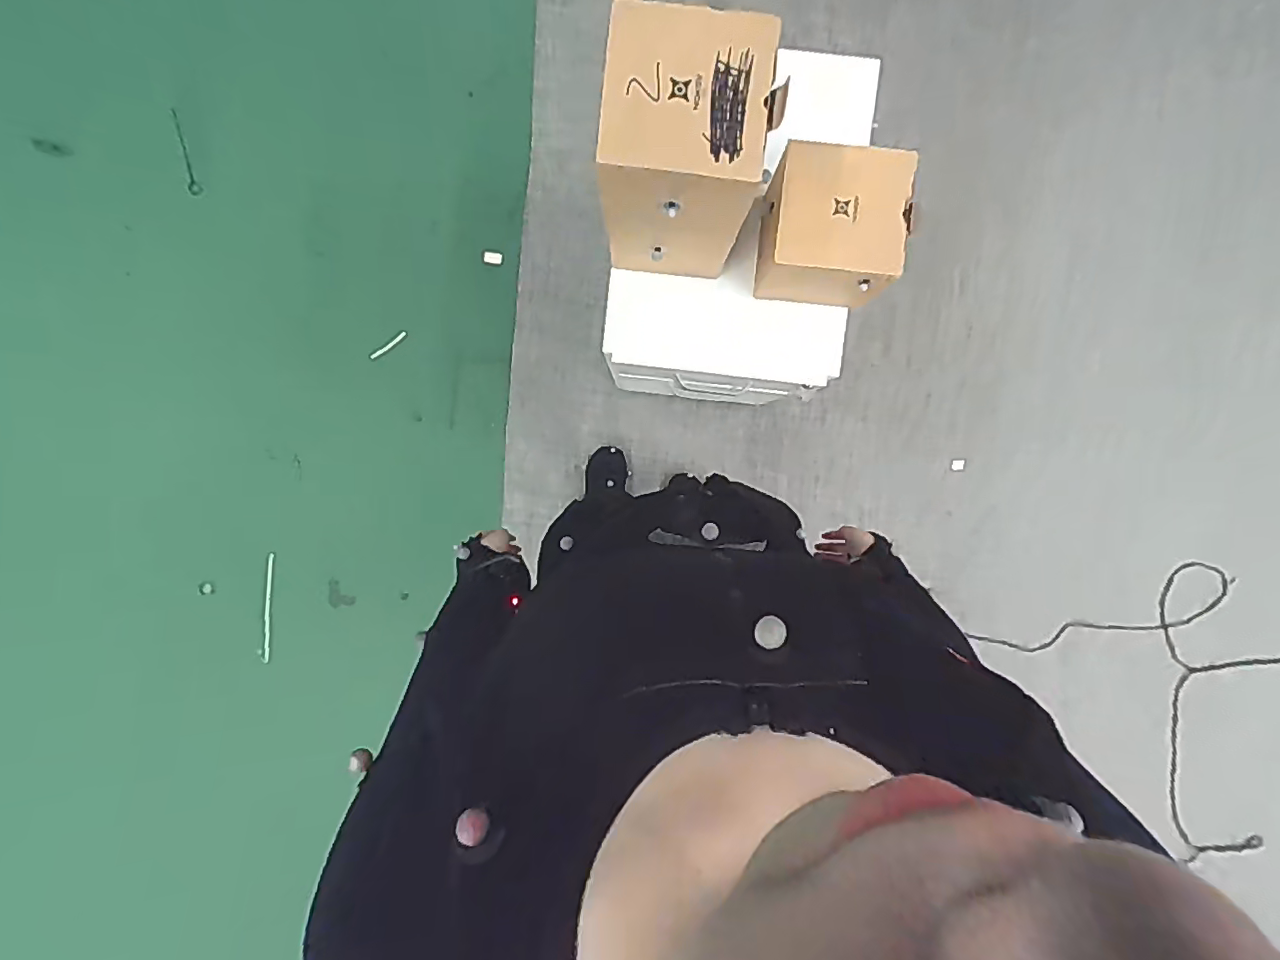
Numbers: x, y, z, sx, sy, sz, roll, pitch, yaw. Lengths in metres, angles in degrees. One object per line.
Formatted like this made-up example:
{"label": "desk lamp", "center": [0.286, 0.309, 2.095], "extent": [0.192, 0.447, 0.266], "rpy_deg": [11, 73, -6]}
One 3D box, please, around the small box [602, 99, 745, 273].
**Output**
{"label": "small box", "center": [0.044, -0.417, 0.794], "extent": [0.179, 0.176, 0.168], "rpy_deg": [6, 94, -1]}
